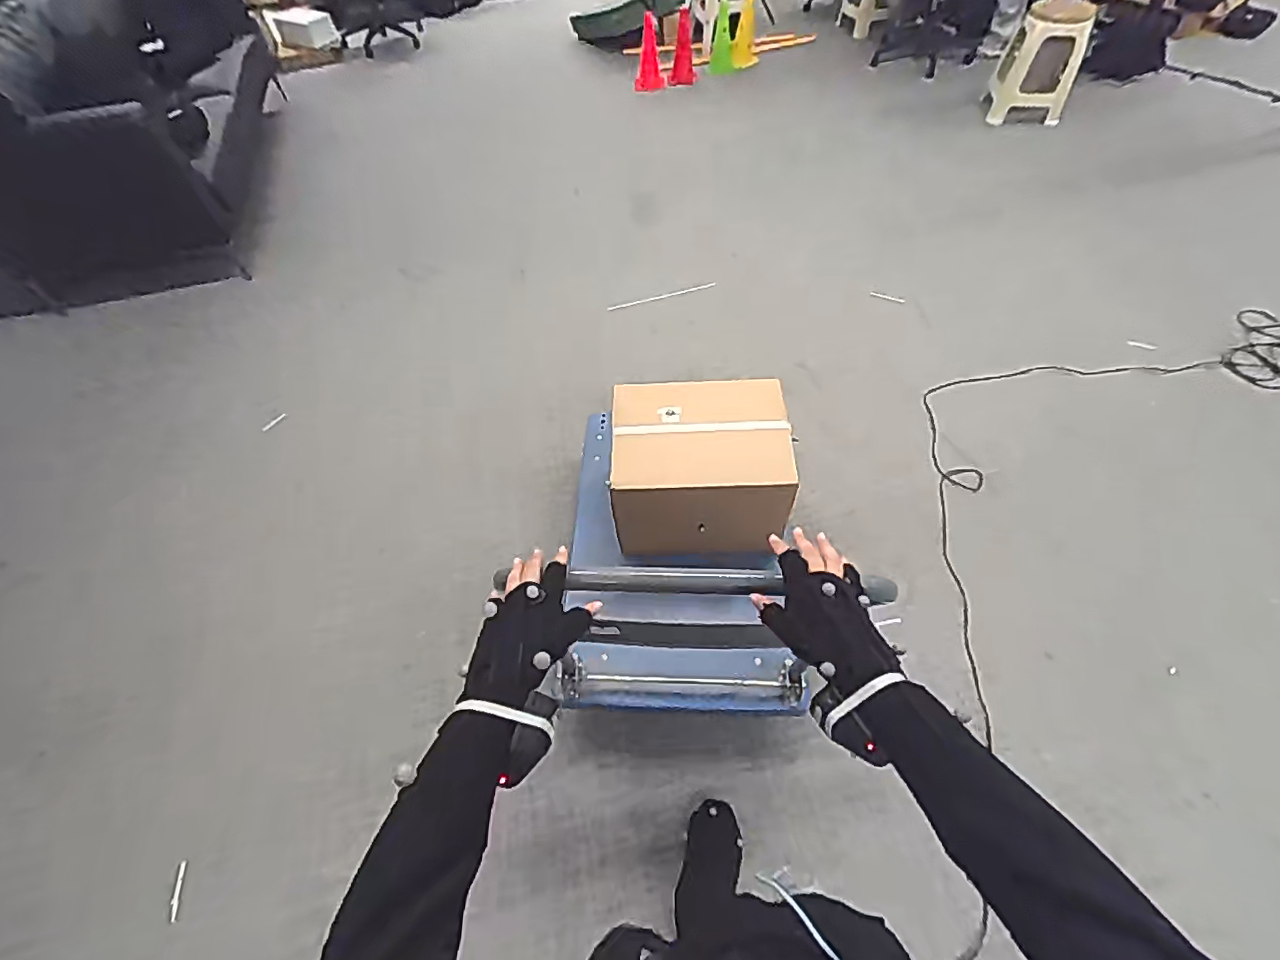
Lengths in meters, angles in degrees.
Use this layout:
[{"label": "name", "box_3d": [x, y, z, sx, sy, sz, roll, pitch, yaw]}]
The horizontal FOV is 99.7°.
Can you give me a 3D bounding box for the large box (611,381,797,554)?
[{"label": "large box", "box_3d": [0.150, -0.021, 1.360, 0.408, 0.320, 0.320, -2, 54, 4]}]
